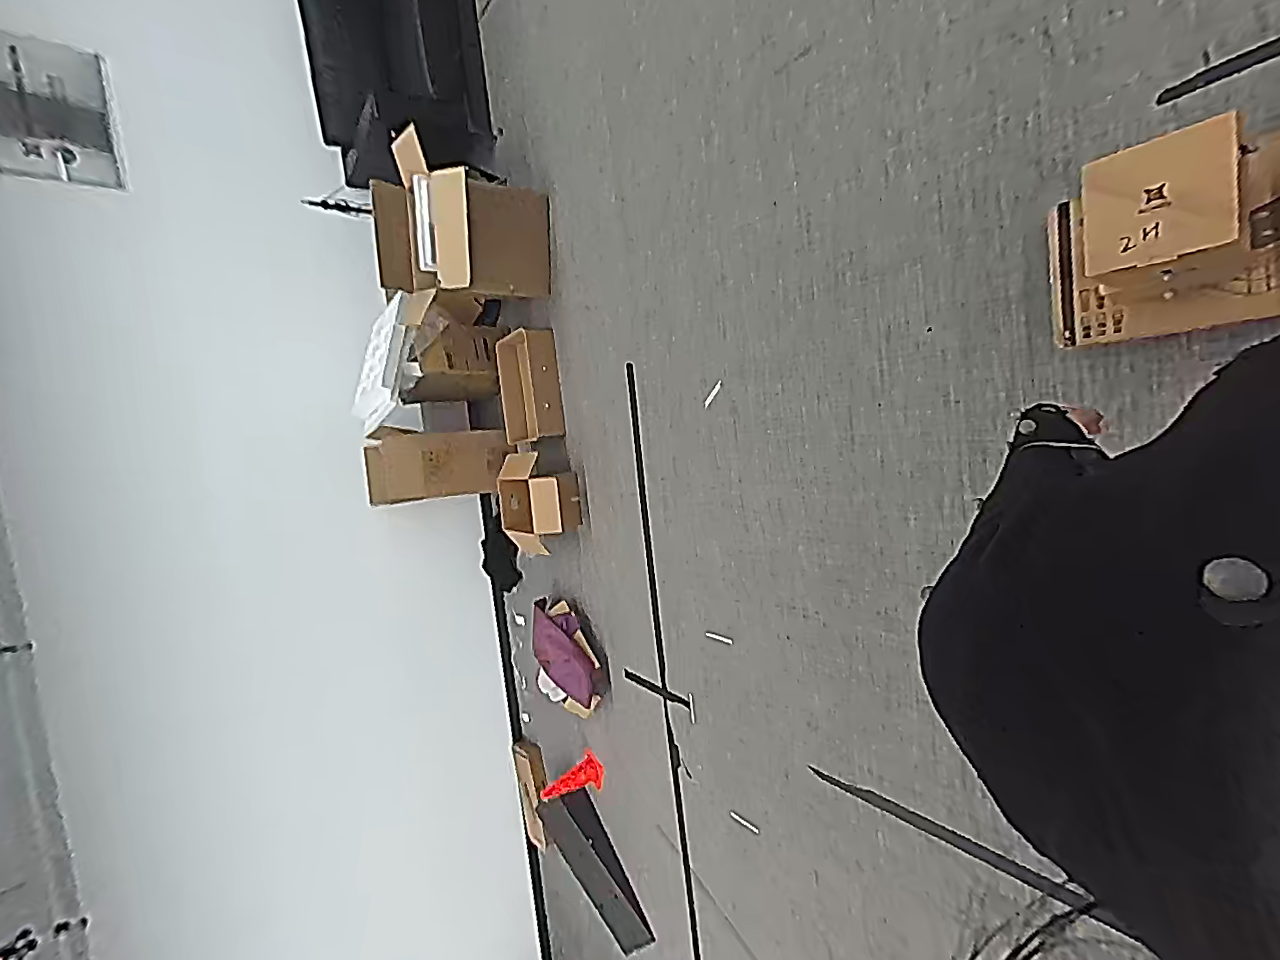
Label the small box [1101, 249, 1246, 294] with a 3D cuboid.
[{"bbox_3d":[0.928,-0.439,0.944,0.168,0.176,0.179,-2,97,53],"label":"small box"}]

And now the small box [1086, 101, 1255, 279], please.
[{"bbox_3d":[0.809,-0.425,0.828,0.168,0.176,0.179,1,98,53],"label":"small box"}]
